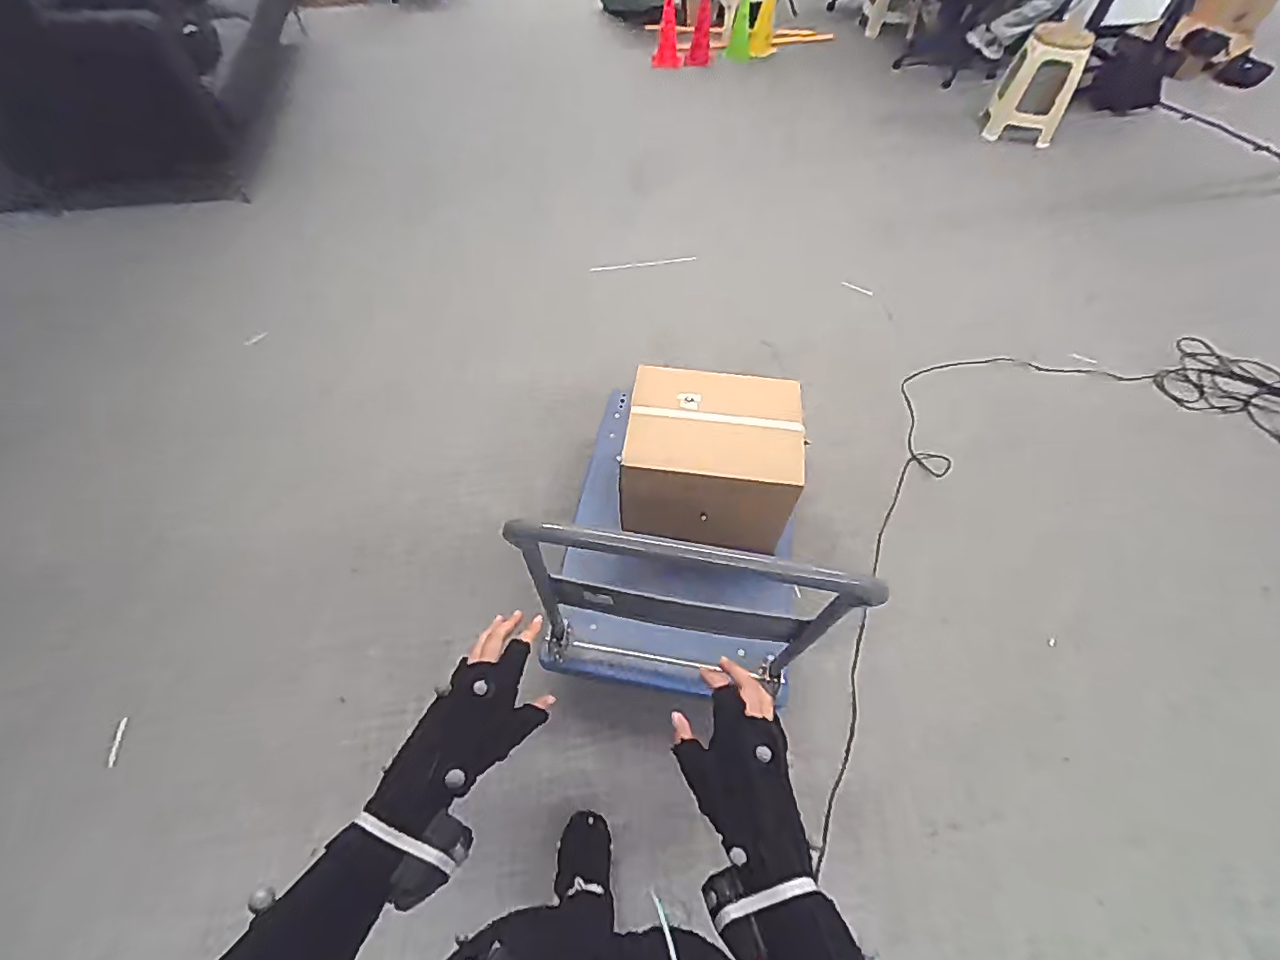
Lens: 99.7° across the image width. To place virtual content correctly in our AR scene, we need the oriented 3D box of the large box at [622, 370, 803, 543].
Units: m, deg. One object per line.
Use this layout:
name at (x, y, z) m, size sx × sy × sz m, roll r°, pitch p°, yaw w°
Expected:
large box at (0.173, -0.053, 1.386) m, size 0.408 × 0.320 × 0.320 m, roll 5°, pitch 56°, yaw 4°
